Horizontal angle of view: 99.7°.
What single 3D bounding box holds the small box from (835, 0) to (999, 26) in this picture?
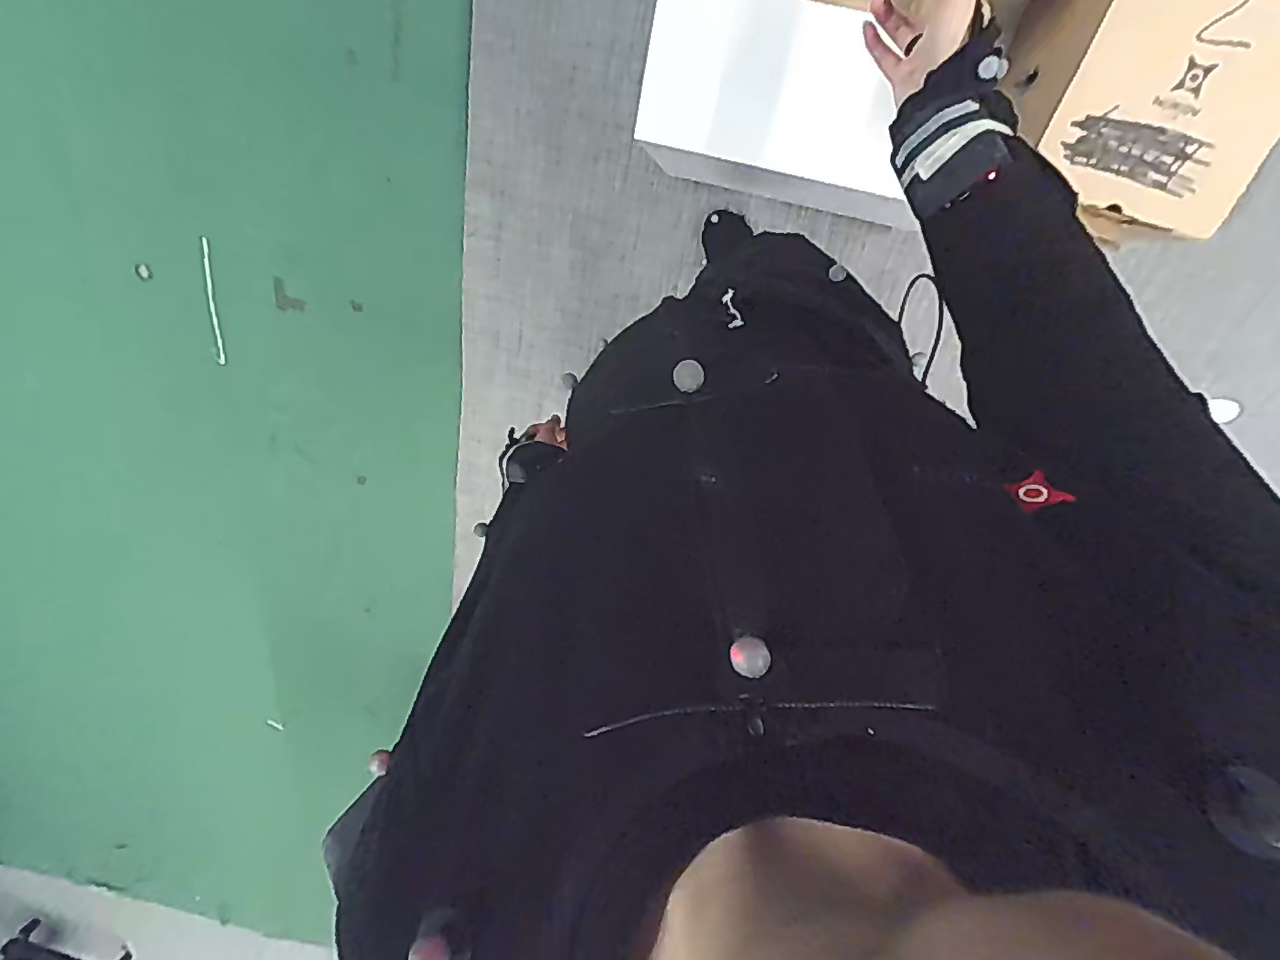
[{"bbox_3d":[0.247,-0.500,0.418,0.168,0.176,0.179,13,117,1],"label":"small box"}]
